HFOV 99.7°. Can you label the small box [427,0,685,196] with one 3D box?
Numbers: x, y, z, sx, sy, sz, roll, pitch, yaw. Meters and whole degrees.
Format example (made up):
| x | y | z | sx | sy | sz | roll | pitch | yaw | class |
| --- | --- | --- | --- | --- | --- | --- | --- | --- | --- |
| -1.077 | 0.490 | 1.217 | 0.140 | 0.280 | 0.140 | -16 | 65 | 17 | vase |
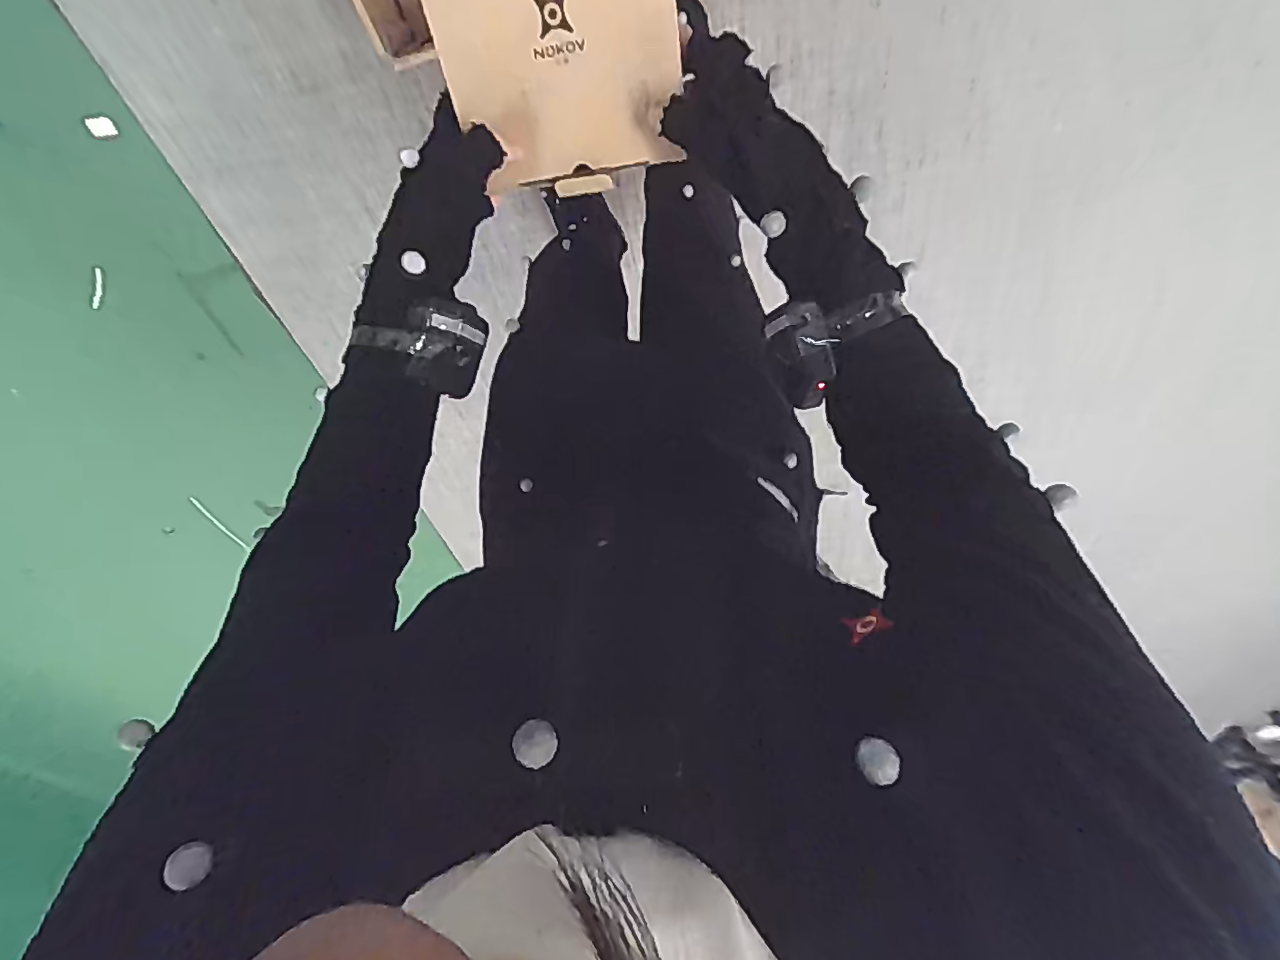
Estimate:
| x | y | z | sx | sy | sz | roll | pitch | yaw | class |
| --- | --- | --- | --- | --- | --- | --- | --- | --- | --- |
| -0.055 | -0.352 | 0.432 | 0.168 | 0.176 | 0.179 | -7 | 128 | 6 | small box |
